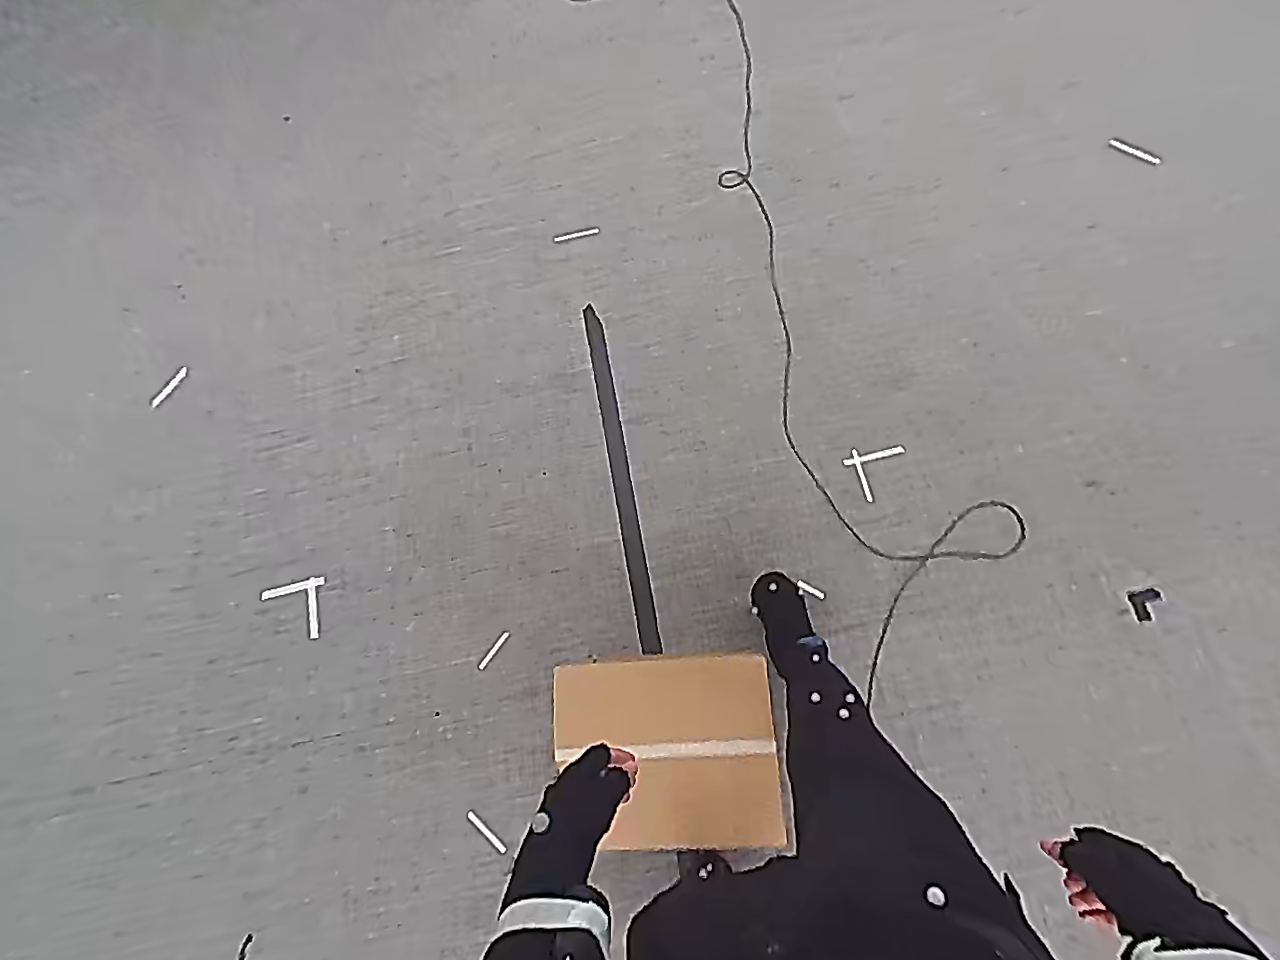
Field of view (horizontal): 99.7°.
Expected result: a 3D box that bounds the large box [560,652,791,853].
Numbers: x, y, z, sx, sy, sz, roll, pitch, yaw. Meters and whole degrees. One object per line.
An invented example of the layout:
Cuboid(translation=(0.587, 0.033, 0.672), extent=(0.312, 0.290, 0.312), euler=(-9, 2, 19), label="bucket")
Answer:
Cuboid(translation=(0.067, 0.532, 1.120), extent=(0.408, 0.320, 0.320), euler=(-5, 75, 5), label="large box")
